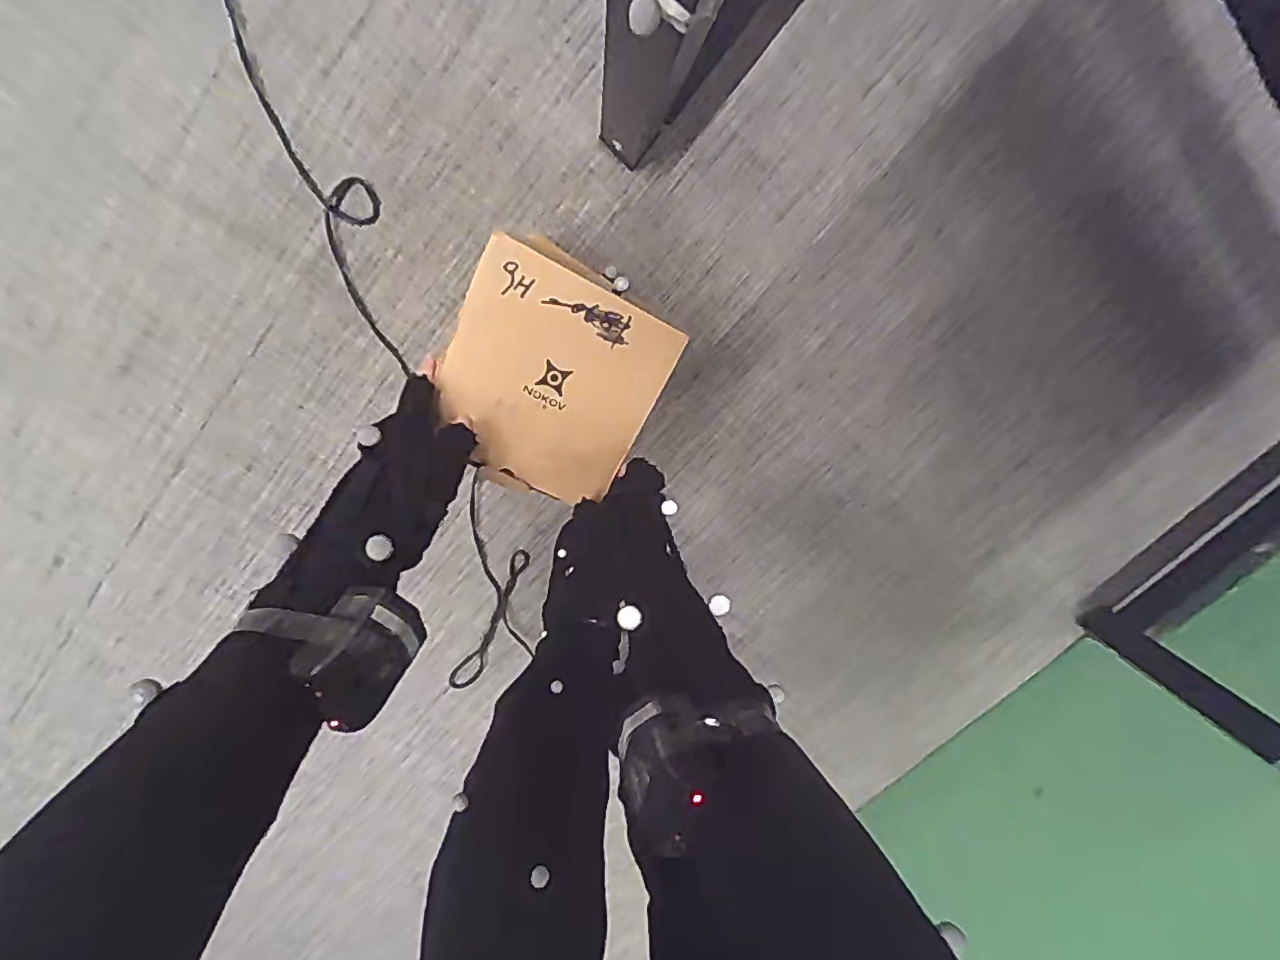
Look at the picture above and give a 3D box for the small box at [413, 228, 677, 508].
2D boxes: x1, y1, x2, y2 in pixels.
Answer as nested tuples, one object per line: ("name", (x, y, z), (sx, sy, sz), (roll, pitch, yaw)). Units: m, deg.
("small box", (-0.081, -0.107, 0.506), (0.168, 0.176, 0.179), (23, 108, -11))
